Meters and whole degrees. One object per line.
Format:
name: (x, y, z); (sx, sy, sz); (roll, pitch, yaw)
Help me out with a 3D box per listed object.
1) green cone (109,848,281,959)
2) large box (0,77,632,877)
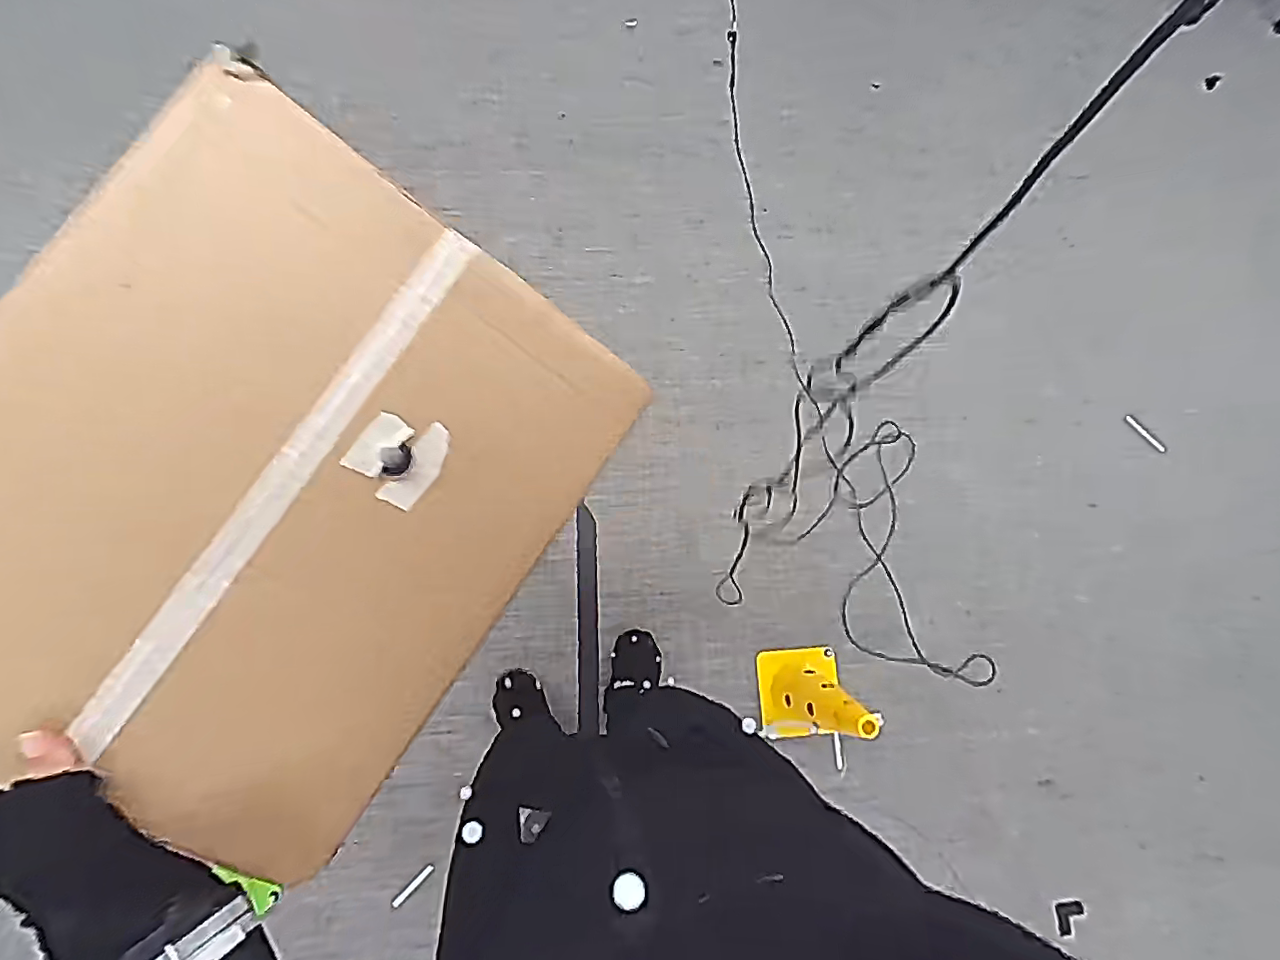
green cone: (-0.889, 0.853, 0.985); (0.202, 0.368, 0.200); (-39, 83, -9)
large box: (-0.269, 0.006, 0.473); (0.320, 0.320, 0.408); (35, 84, -17)
